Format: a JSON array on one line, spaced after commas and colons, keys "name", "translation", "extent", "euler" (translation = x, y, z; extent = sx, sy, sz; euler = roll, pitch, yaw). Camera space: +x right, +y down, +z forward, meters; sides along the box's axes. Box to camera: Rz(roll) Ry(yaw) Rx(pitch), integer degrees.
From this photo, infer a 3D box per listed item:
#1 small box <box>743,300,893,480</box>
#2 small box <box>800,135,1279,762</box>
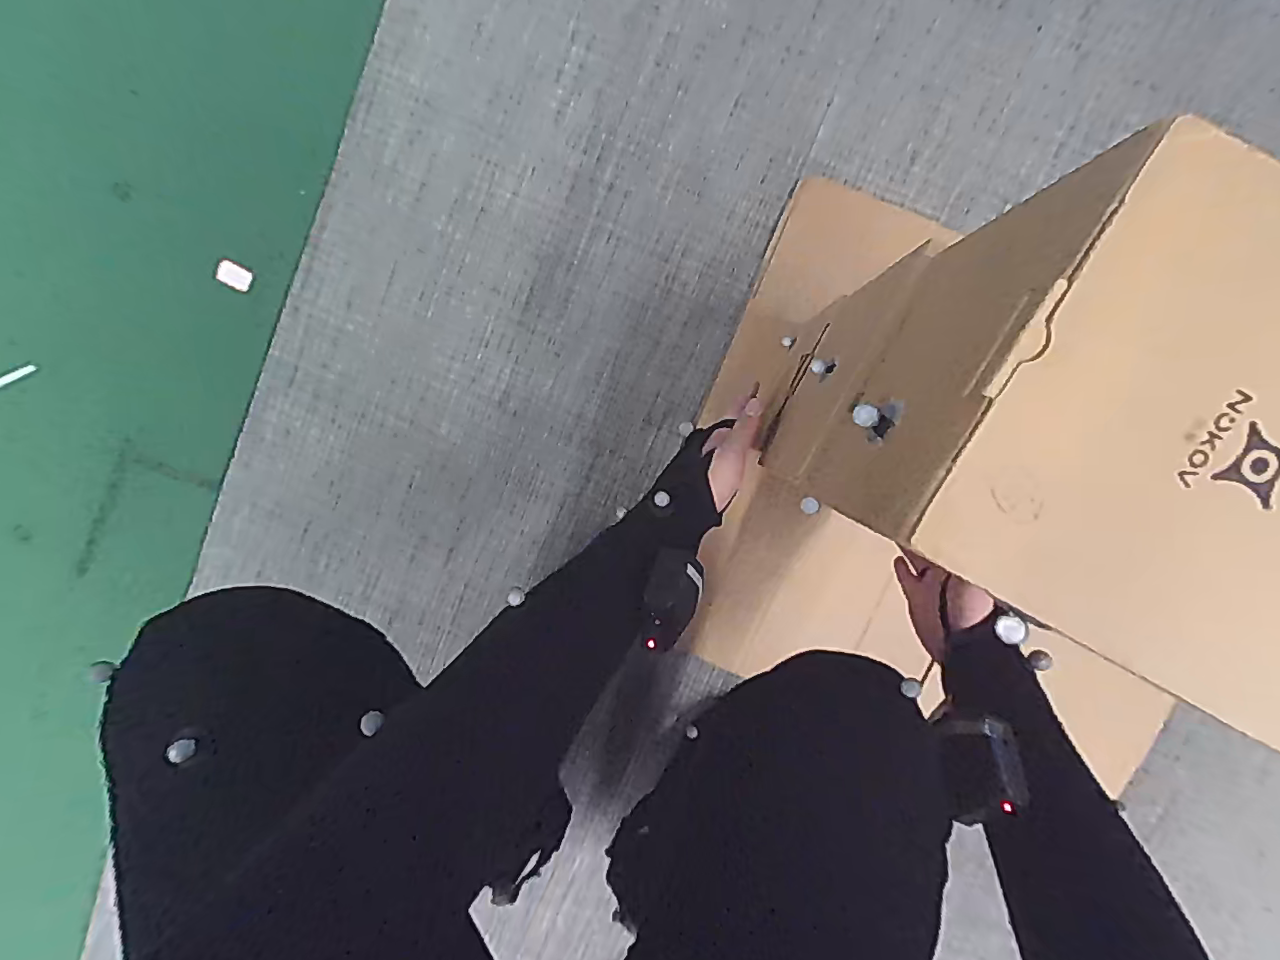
[{"name": "small box", "translation": [0.230, -0.067, 0.591], "extent": [0.179, 0.176, 0.168], "euler": [27, 97, 0]}, {"name": "small box", "translation": [0.205, -0.014, 0.269], "extent": [0.179, 0.176, 0.168], "euler": [29, 98, 0]}]
